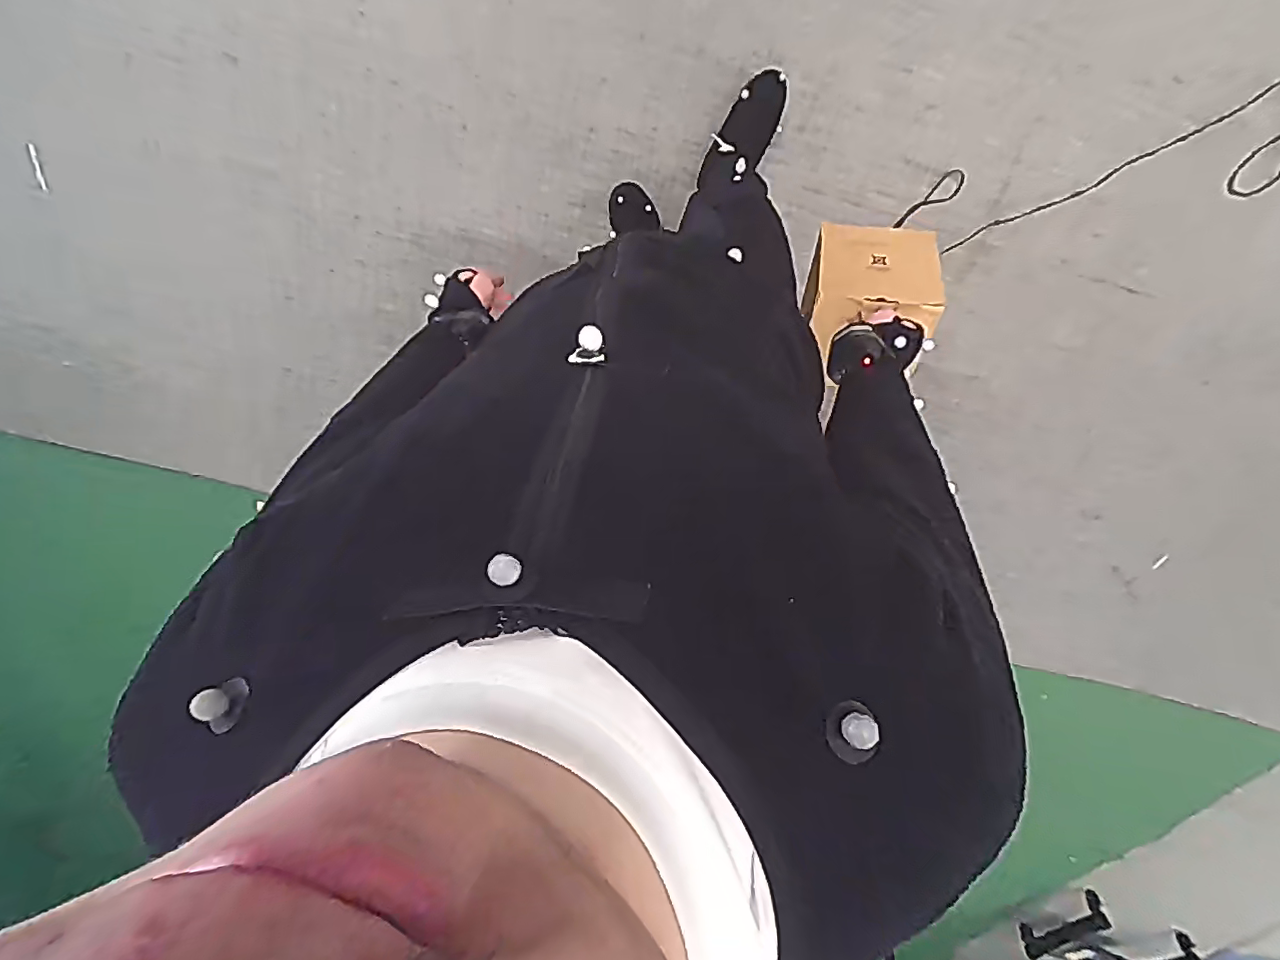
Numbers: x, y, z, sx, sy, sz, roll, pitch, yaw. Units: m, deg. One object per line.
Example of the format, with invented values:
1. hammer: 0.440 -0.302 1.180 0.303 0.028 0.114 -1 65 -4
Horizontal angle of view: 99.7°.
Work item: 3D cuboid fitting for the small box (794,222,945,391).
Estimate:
1. small box: 0.334 -0.258 0.816 0.168 0.179 0.176 10 145 8
